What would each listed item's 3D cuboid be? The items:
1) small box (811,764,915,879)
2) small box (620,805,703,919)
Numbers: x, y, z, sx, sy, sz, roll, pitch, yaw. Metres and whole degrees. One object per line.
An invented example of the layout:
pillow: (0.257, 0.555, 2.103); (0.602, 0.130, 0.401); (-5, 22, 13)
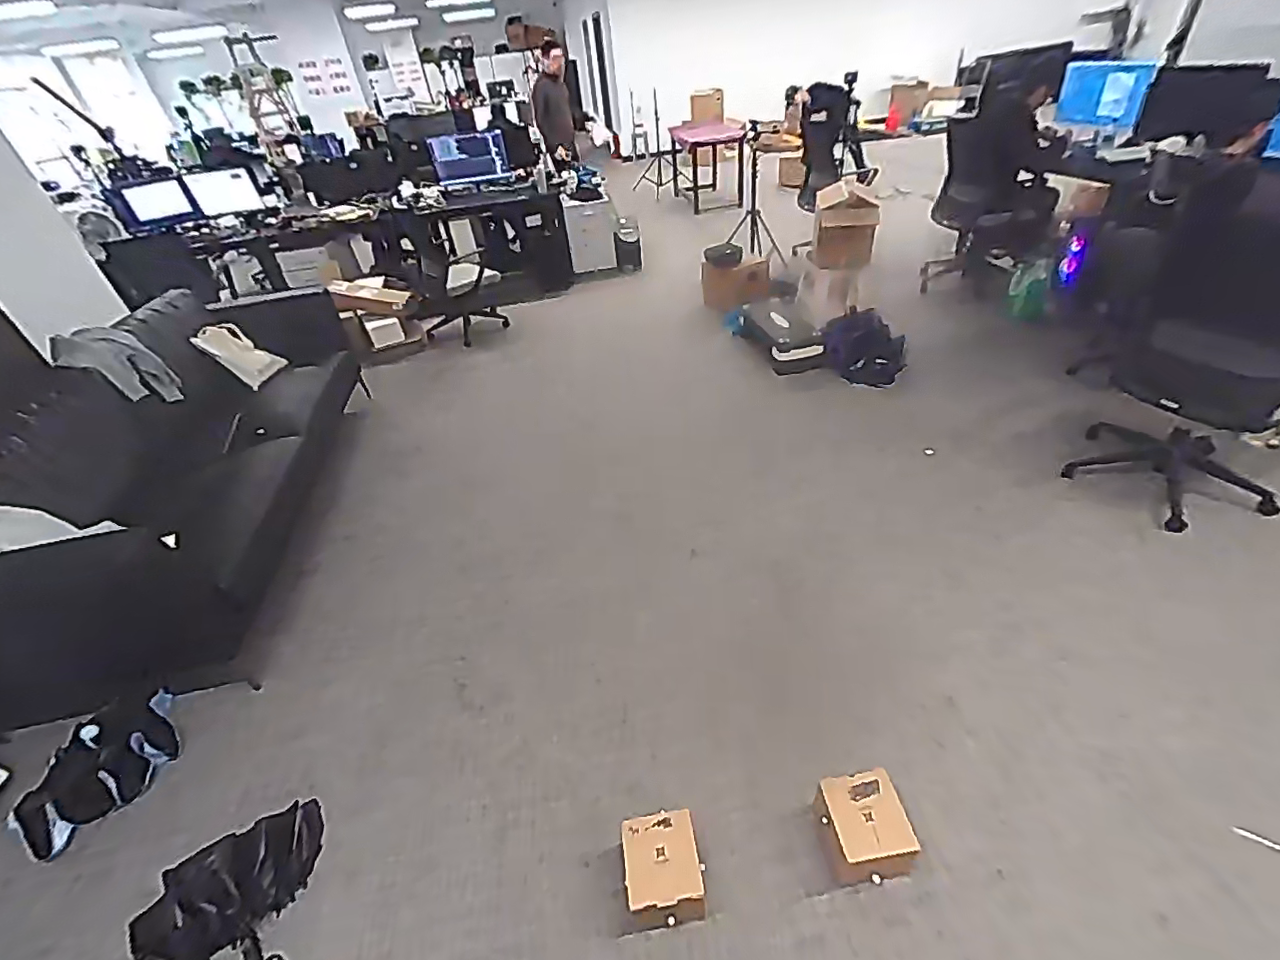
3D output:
small box: (0.520, 0.816, 1.293); (0.168, 0.176, 0.179); (-10, 40, -1)
small box: (0.051, 0.905, 1.275); (0.168, 0.176, 0.179); (-10, 39, -1)
